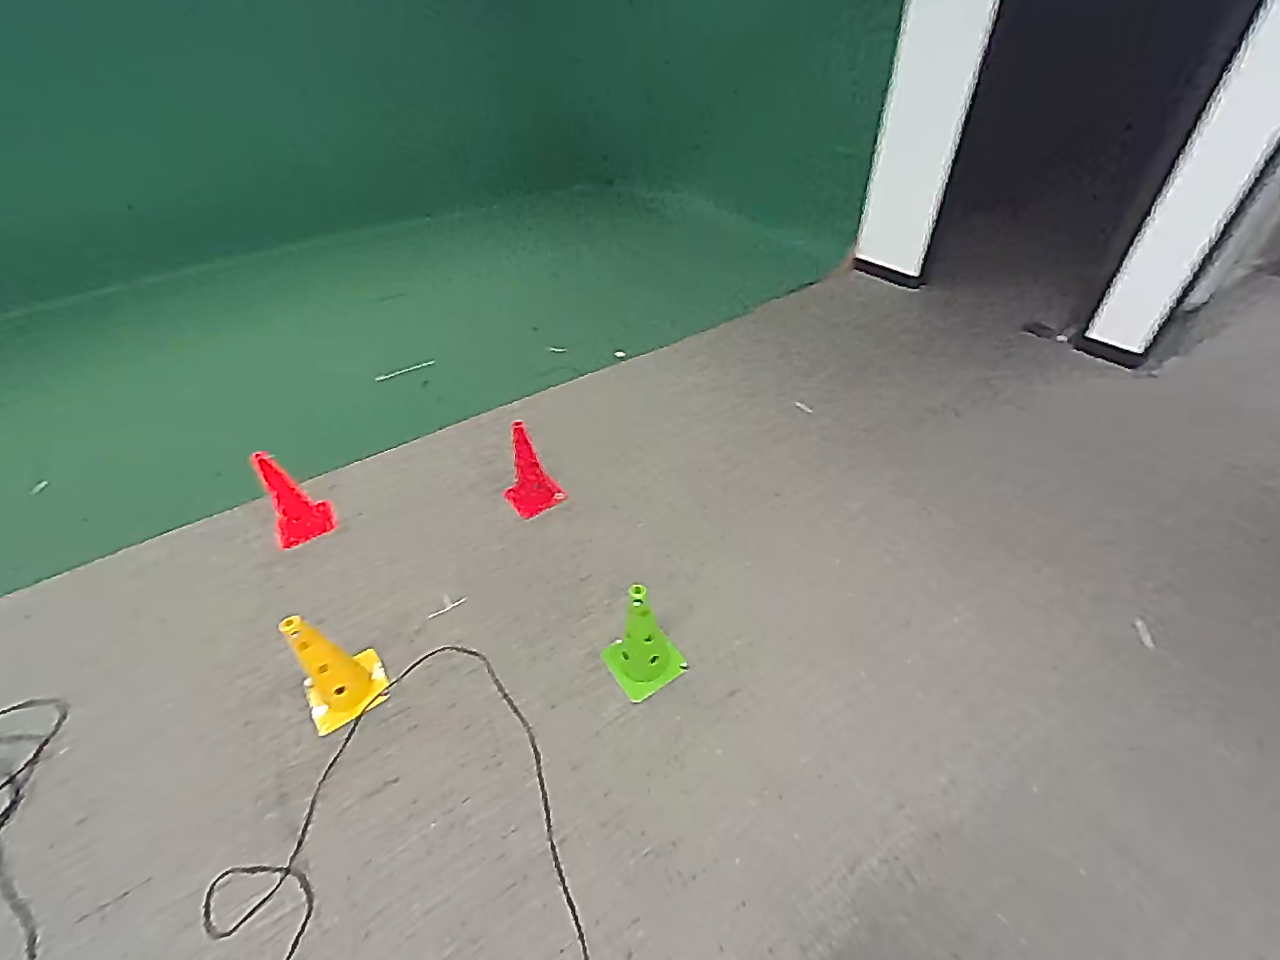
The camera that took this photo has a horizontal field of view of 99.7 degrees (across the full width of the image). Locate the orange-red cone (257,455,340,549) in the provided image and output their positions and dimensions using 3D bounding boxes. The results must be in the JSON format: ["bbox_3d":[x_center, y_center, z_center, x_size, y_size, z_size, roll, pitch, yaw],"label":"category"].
[{"bbox_3d":[-1.306,0.053,2.012,0.198,0.360,0.199,-26,48,-20],"label":"orange-red cone"}]

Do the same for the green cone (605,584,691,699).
[{"bbox_3d":[0.009,0.407,1.503,0.202,0.368,0.200,-28,47,-21],"label":"green cone"}]

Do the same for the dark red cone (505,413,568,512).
[{"bbox_3d":[-0.424,-0.083,2.042,0.202,0.394,0.201,-30,47,-25],"label":"dark red cone"}]
